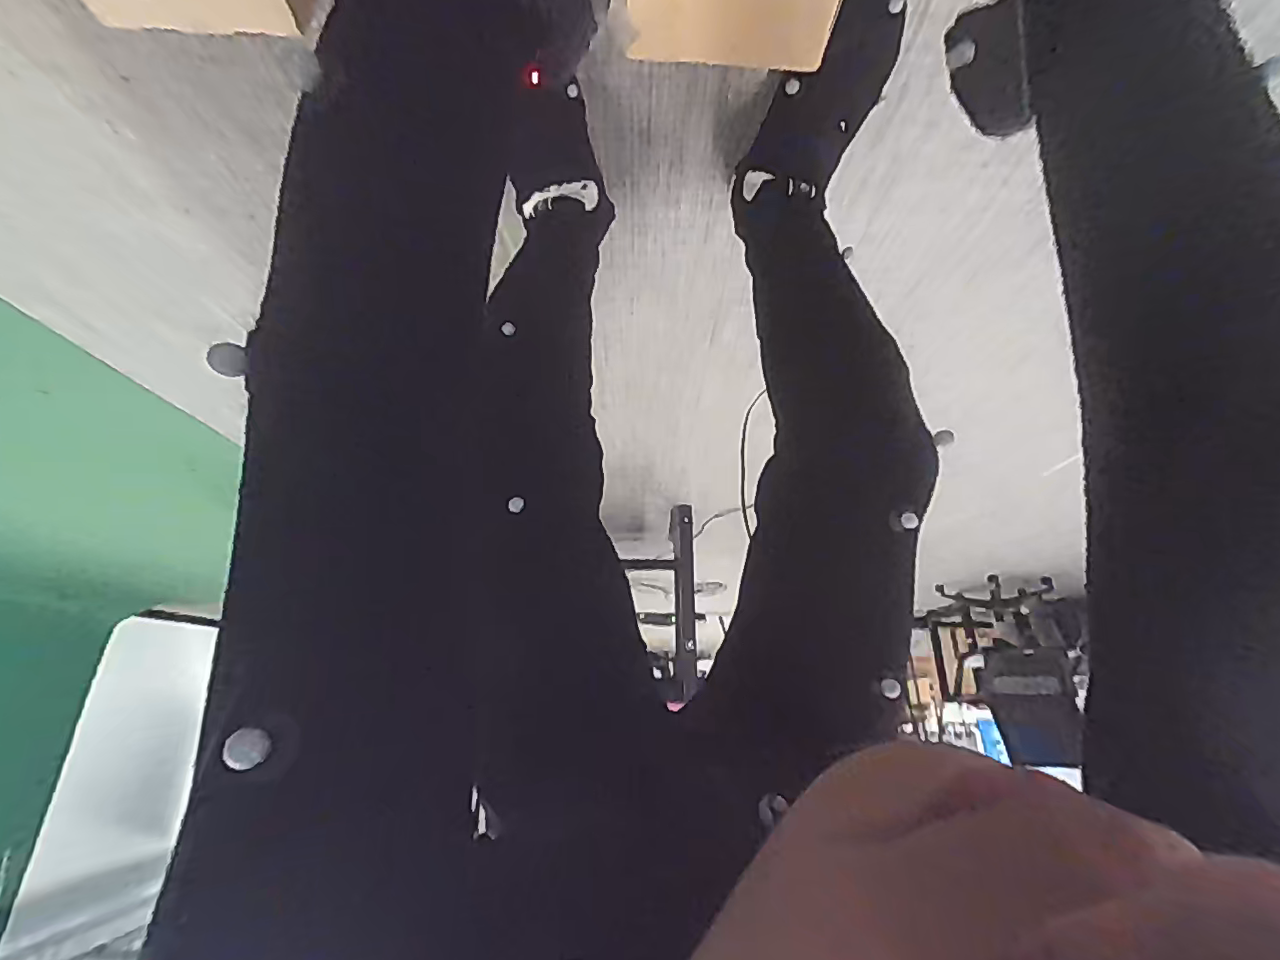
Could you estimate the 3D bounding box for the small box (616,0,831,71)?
[{"bbox_3d":[0.071,-0.475,0.437,0.179,0.176,0.168,1,158,-2],"label":"small box"}]
